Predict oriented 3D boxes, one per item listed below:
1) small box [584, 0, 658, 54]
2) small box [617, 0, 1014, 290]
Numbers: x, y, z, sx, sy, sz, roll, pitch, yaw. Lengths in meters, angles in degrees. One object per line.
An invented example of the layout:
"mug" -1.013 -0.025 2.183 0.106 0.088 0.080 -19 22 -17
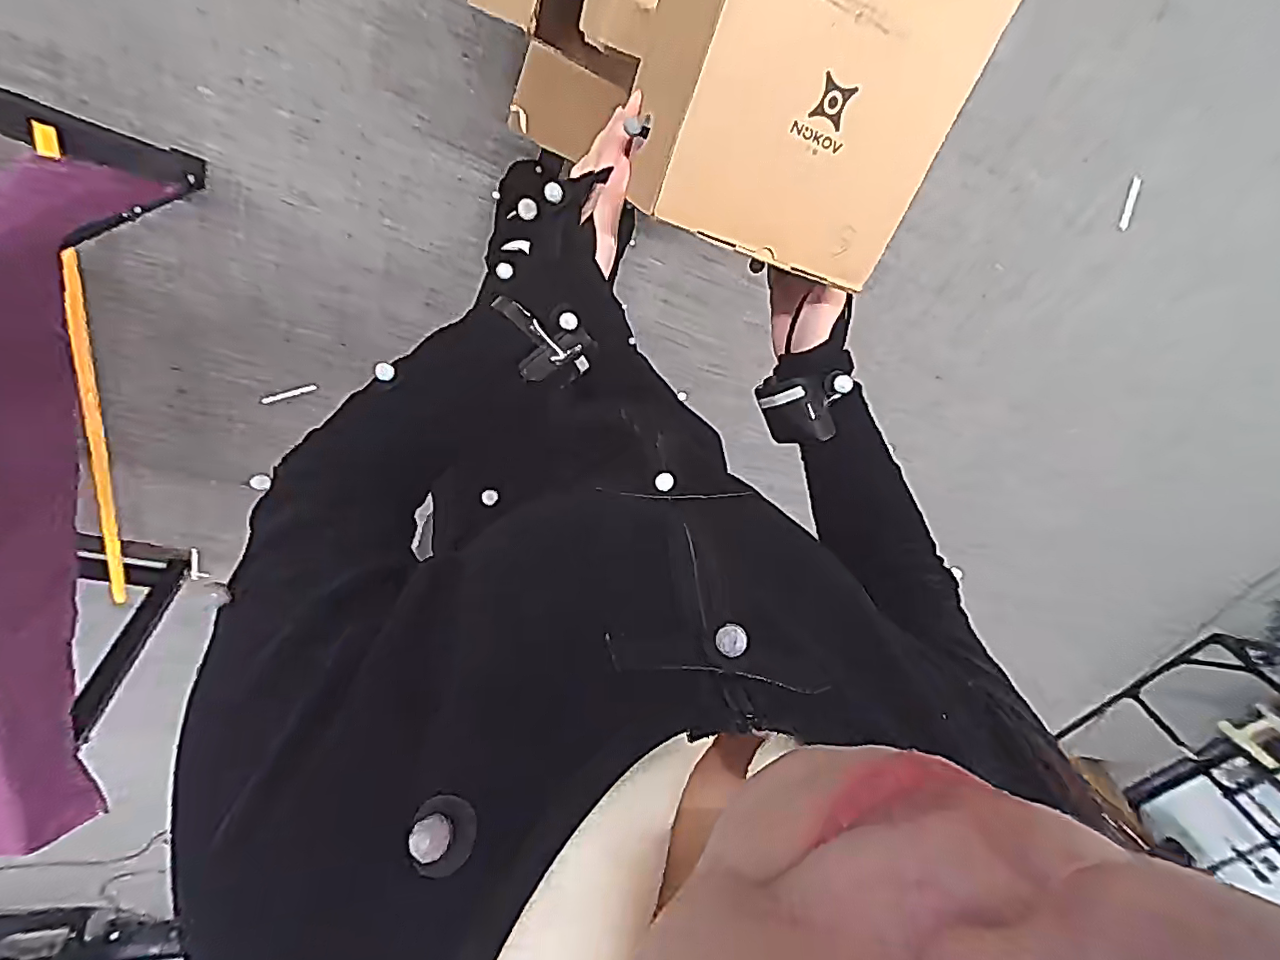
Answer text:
"small box" 0.052 -0.504 0.526 0.179 0.176 0.168 6 131 -21
"small box" 0.091 -0.263 0.378 0.168 0.176 0.179 10 121 -22
